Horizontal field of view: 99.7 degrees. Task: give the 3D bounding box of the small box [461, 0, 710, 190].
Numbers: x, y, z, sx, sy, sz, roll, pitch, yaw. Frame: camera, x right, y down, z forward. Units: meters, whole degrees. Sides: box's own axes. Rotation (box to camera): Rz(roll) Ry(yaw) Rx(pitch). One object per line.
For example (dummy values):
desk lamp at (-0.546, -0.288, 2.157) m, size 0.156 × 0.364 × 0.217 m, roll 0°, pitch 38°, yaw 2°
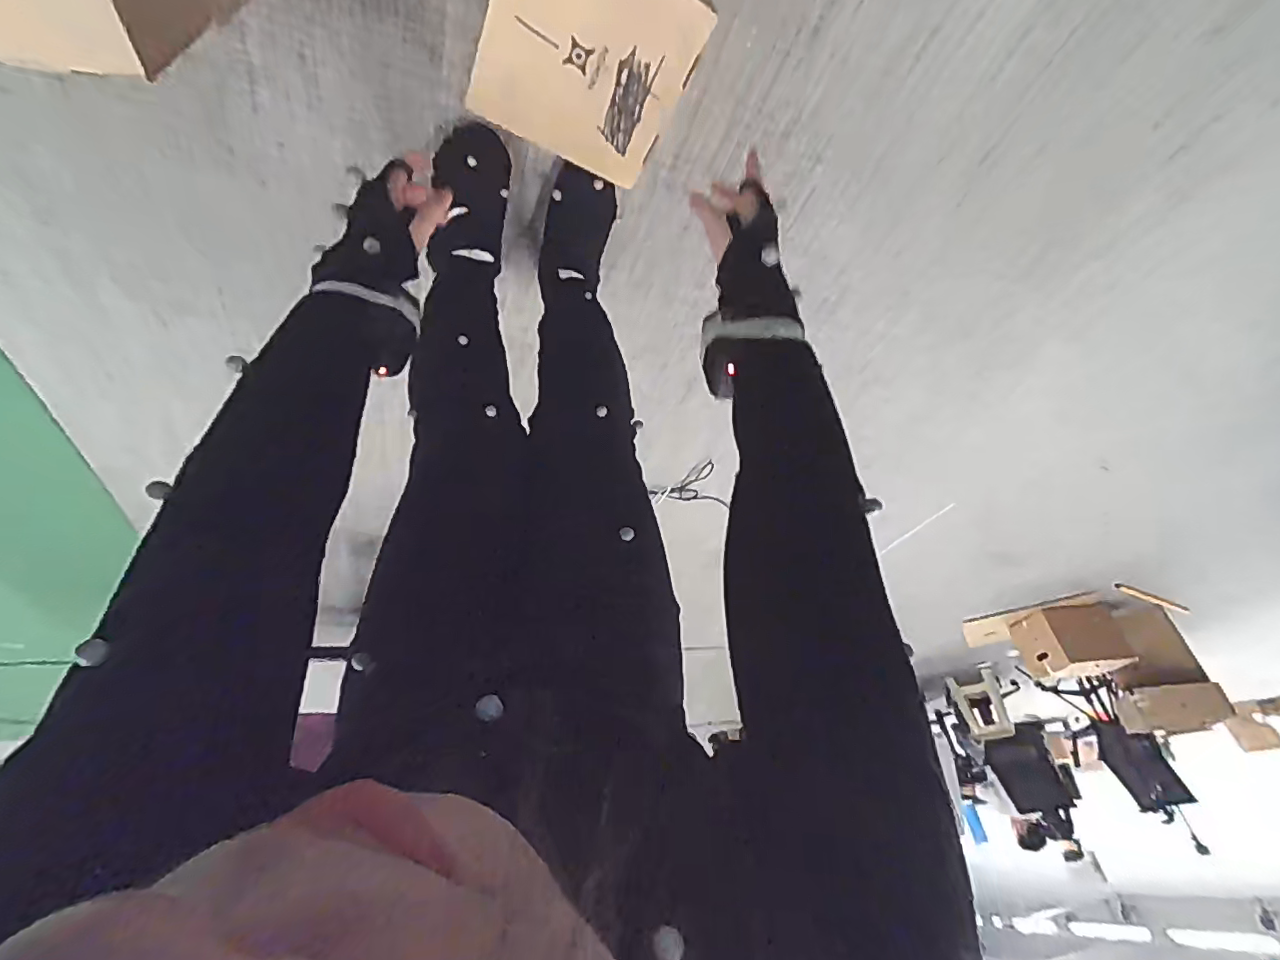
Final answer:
small box at (-0.059, -0.433, 0.525) m, size 0.179 × 0.176 × 0.168 m, roll 14°, pitch 141°, yaw -26°
